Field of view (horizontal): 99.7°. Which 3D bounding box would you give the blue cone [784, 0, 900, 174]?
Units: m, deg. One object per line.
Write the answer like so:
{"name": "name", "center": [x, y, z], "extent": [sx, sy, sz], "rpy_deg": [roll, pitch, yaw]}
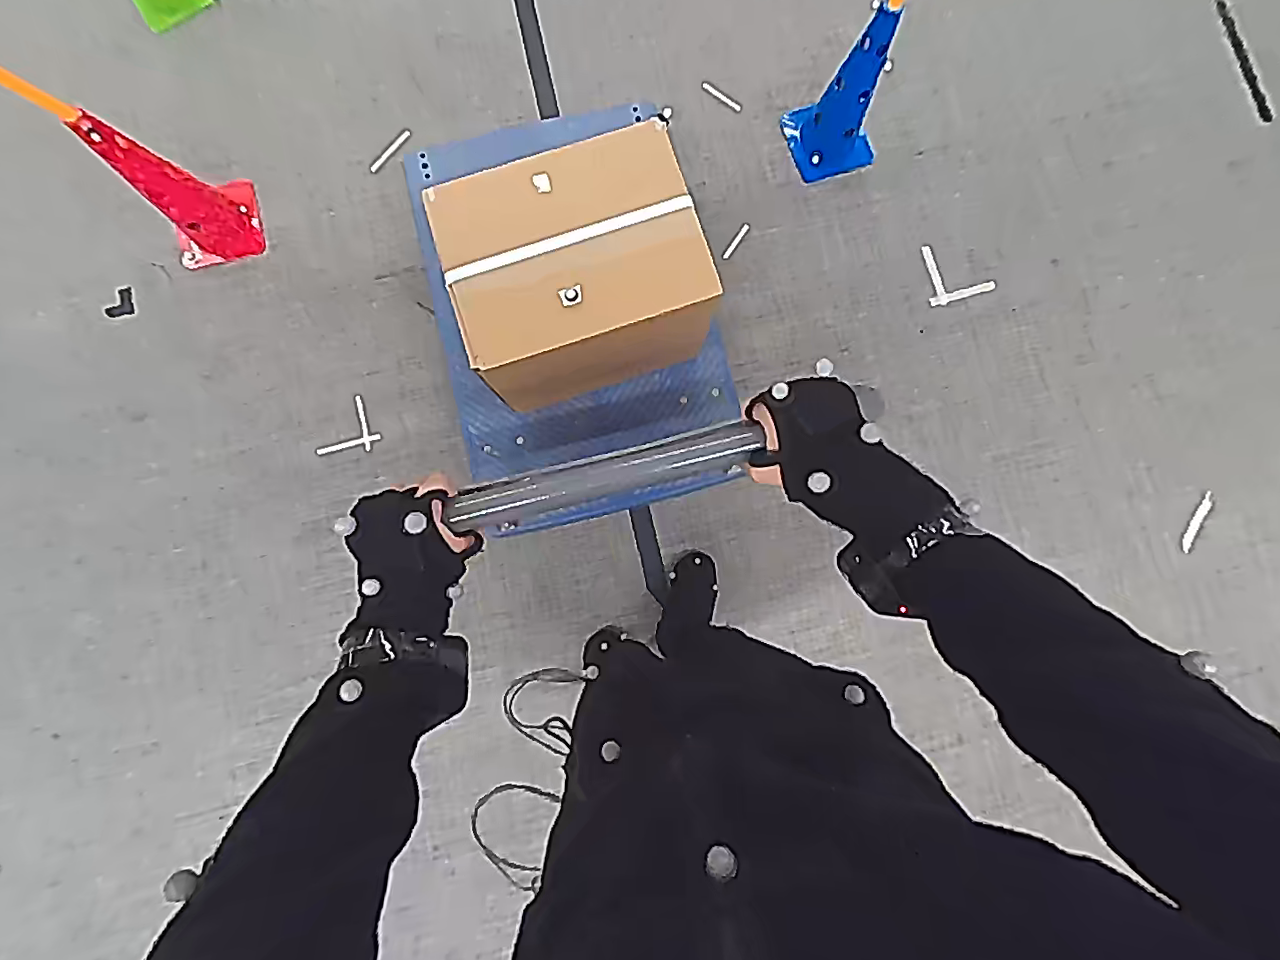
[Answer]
{"name": "blue cone", "center": [0.485, -0.902, 1.221], "extent": [0.193, 0.380, 0.192], "rpy_deg": [-17, 84, -3]}
